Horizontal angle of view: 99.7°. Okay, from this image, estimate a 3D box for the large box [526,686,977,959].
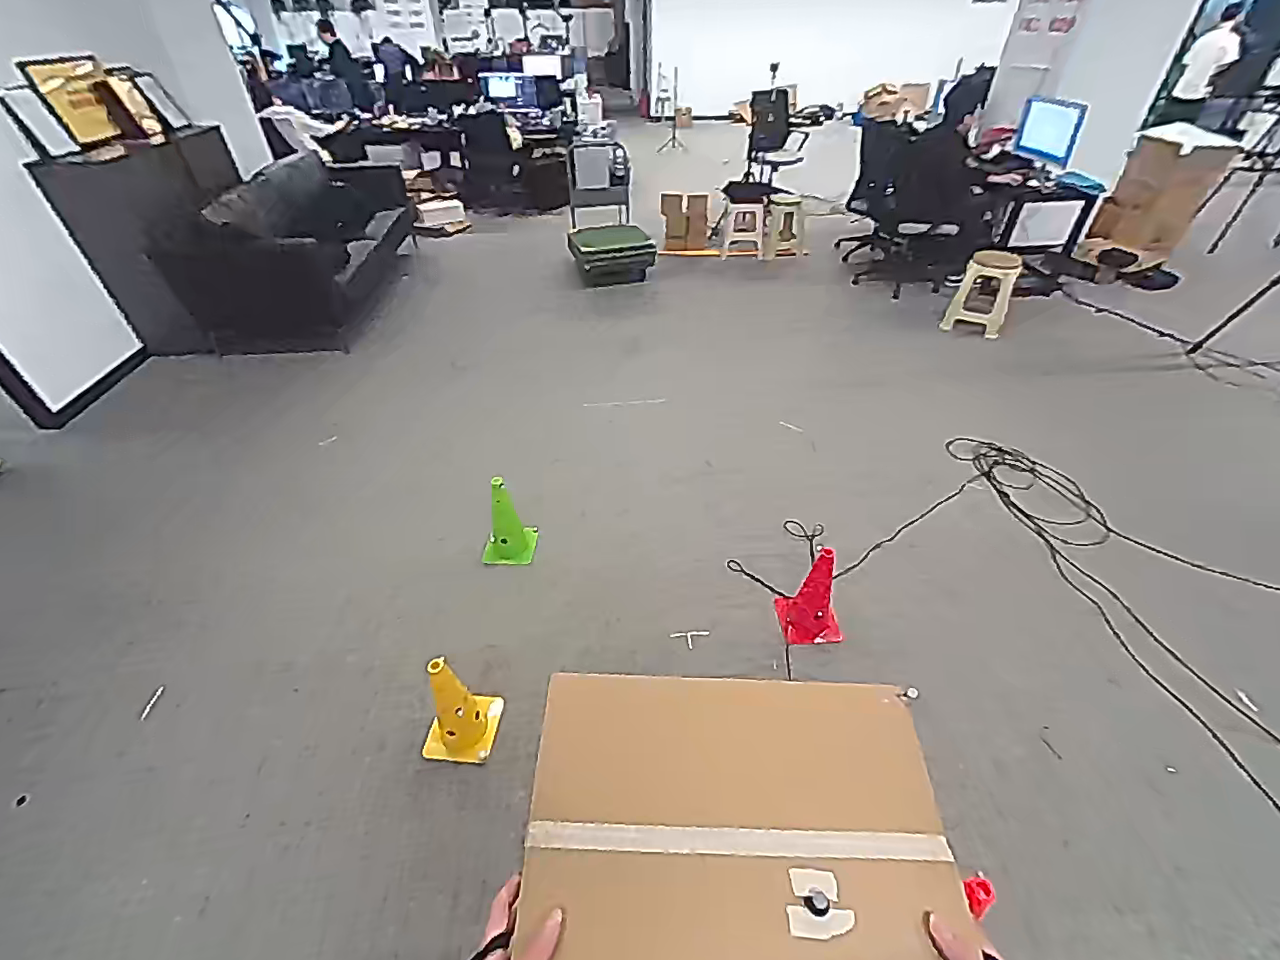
[{"bbox_3d":[0.094,0.455,0.635,0.408,0.320,0.320,2,50,0],"label":"large box"}]

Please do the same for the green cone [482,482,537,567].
[{"bbox_3d":[-0.537,0.150,2.105,0.200,0.368,0.202,0,42,2],"label":"green cone"}]
